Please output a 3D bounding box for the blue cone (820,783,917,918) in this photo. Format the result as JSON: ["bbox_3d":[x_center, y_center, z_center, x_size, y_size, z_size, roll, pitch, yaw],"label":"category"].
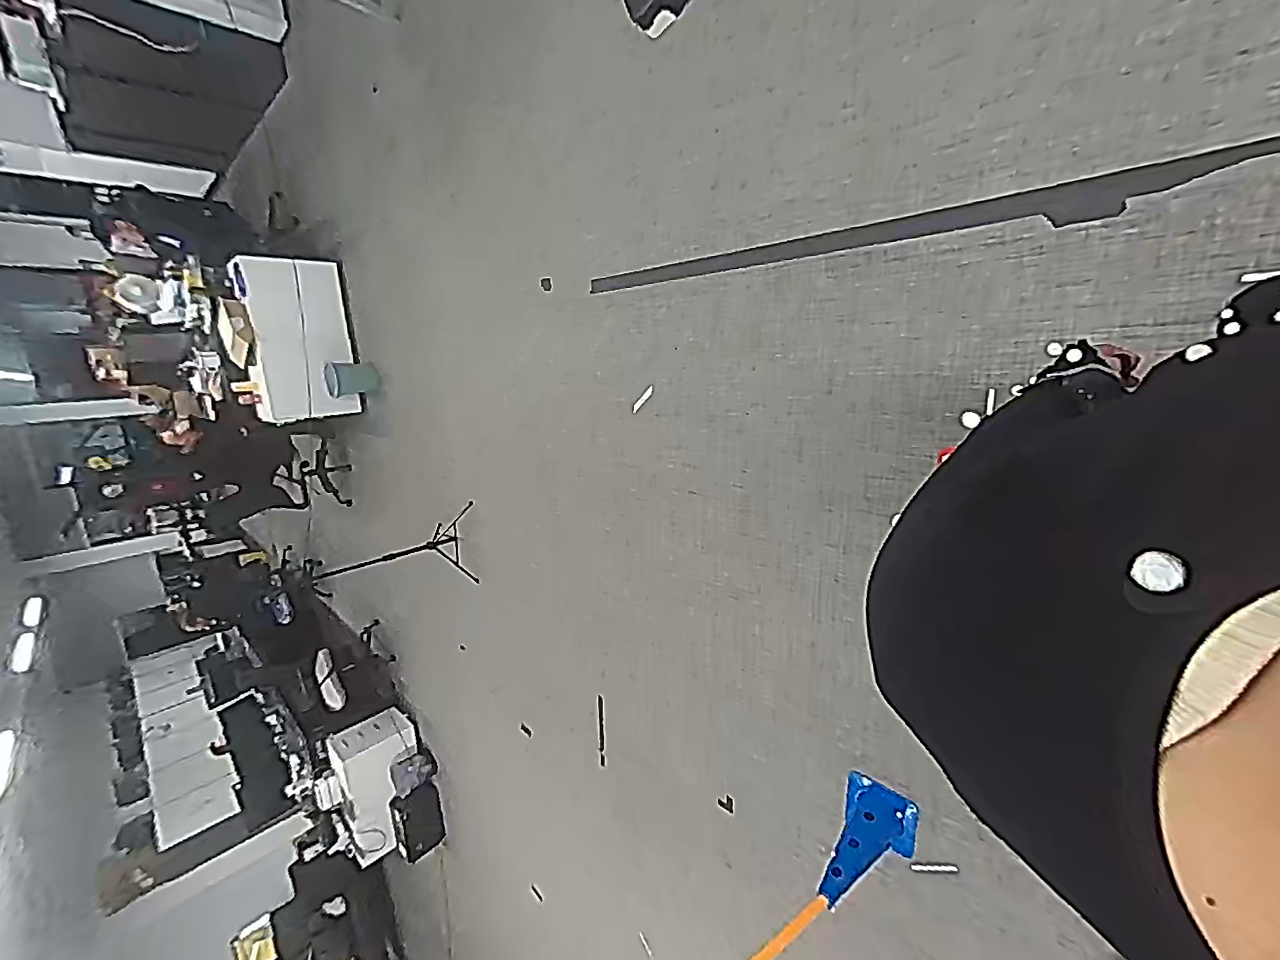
[{"bbox_3d":[0.597,1.035,1.479,0.193,0.380,0.192,15,112,43],"label":"blue cone"}]
